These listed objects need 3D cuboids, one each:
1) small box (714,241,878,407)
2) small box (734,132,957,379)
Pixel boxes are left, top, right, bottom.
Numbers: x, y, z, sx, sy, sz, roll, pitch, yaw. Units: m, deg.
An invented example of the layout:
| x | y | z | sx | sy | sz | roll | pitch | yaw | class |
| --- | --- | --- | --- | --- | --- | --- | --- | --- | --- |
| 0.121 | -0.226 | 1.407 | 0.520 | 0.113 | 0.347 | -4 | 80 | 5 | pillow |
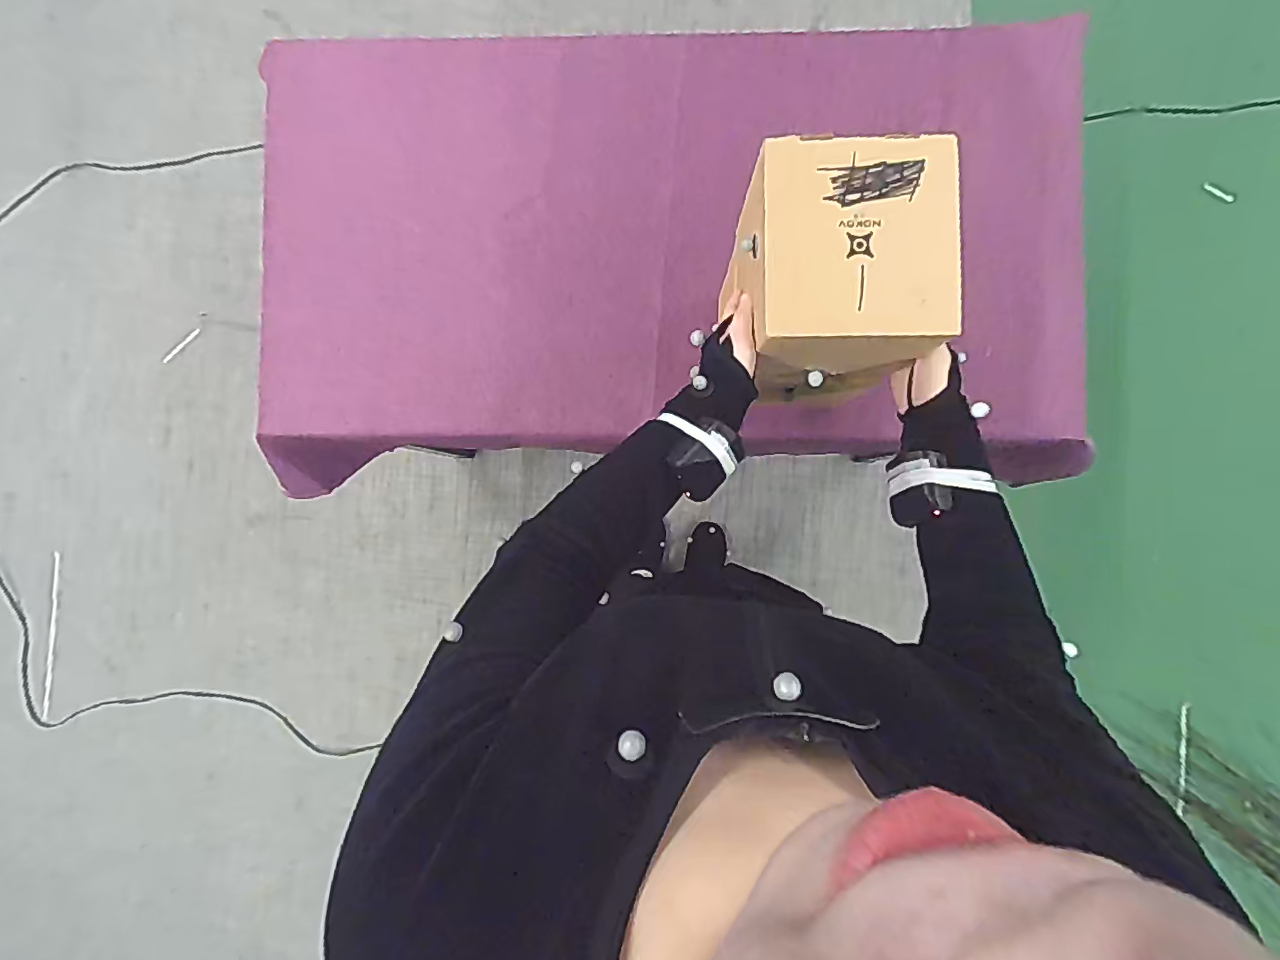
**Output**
| x | y | z | sx | sy | sz | roll | pitch | yaw | class |
| --- | --- | --- | --- | --- | --- | --- | --- | --- | --- |
| 0.192 | -0.191 | 0.701 | 0.179 | 0.176 | 0.168 | 3 | 88 | 2 | small box |
| 0.186 | -0.206 | 0.537 | 0.168 | 0.176 | 0.179 | 0 | 88 | 2 | small box |
